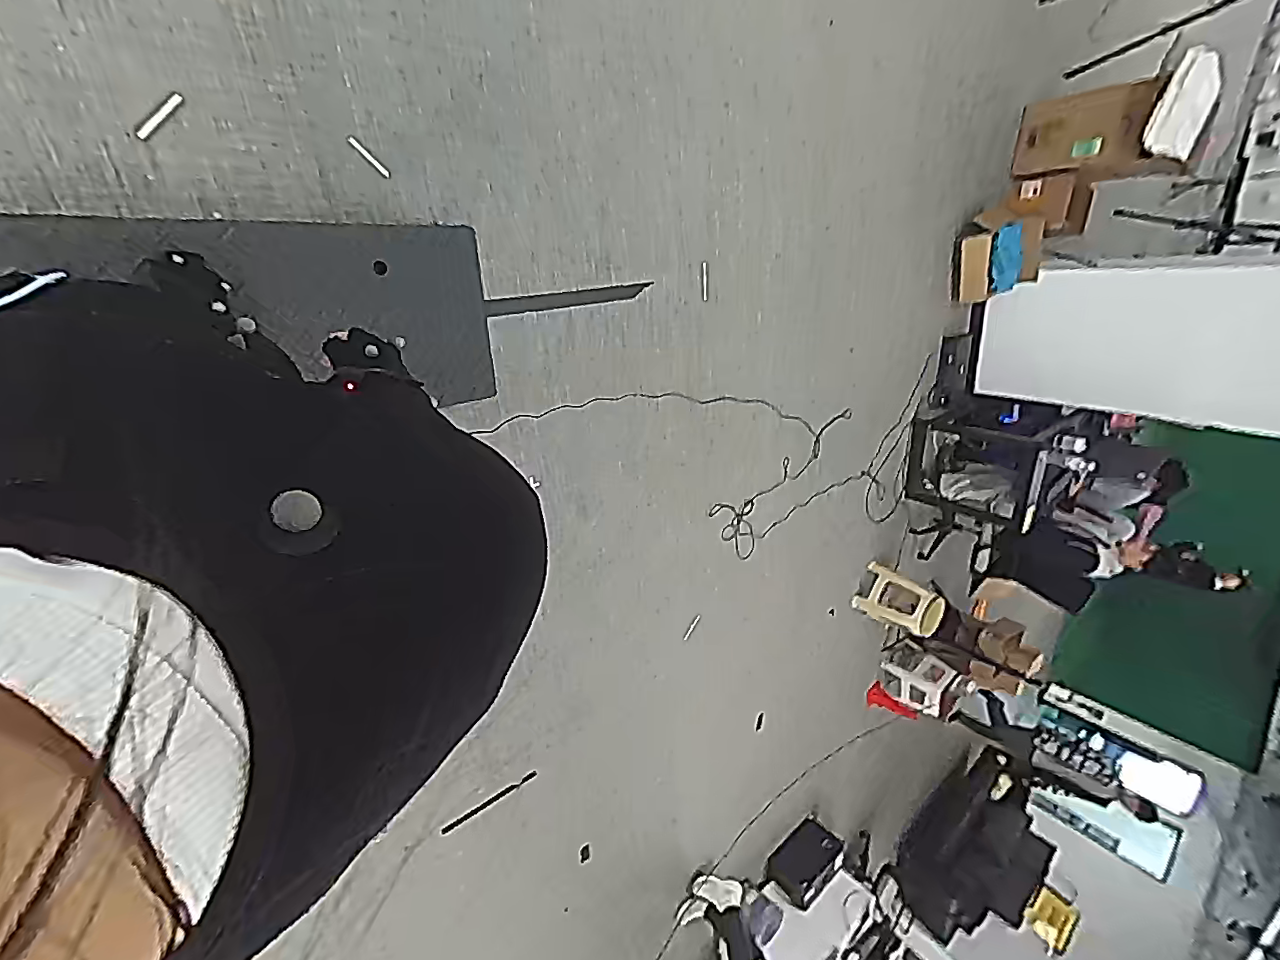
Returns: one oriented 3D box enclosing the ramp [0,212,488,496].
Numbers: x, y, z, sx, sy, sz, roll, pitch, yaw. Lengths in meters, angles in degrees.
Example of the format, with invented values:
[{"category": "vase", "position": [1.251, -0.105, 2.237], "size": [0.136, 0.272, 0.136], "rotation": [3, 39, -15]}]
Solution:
[{"category": "ramp", "position": [-0.815, -0.348, 1.270], "size": [0.991, 0.206, 0.509], "rotation": [-21, 117, -35]}]
